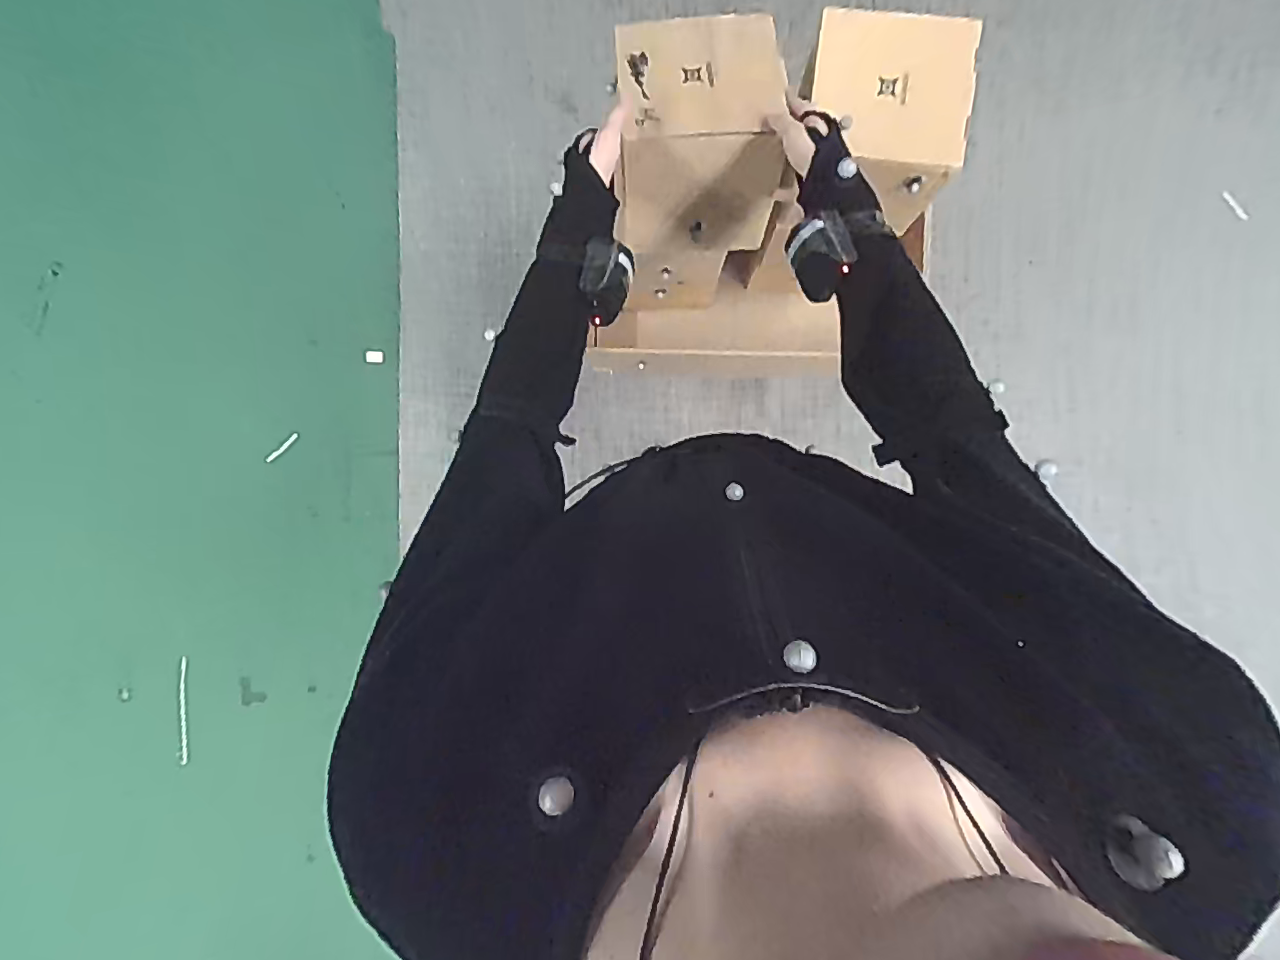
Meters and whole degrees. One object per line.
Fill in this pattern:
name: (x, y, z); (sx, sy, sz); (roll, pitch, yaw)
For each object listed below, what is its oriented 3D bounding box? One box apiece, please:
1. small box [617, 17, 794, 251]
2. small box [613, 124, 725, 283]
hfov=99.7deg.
small box: (0.064, -0.391, 0.633); (0.179, 0.176, 0.168); (-3, 73, -1)
small box: (0.048, -0.417, 0.842); (0.168, 0.176, 0.179); (0, 92, 2)
